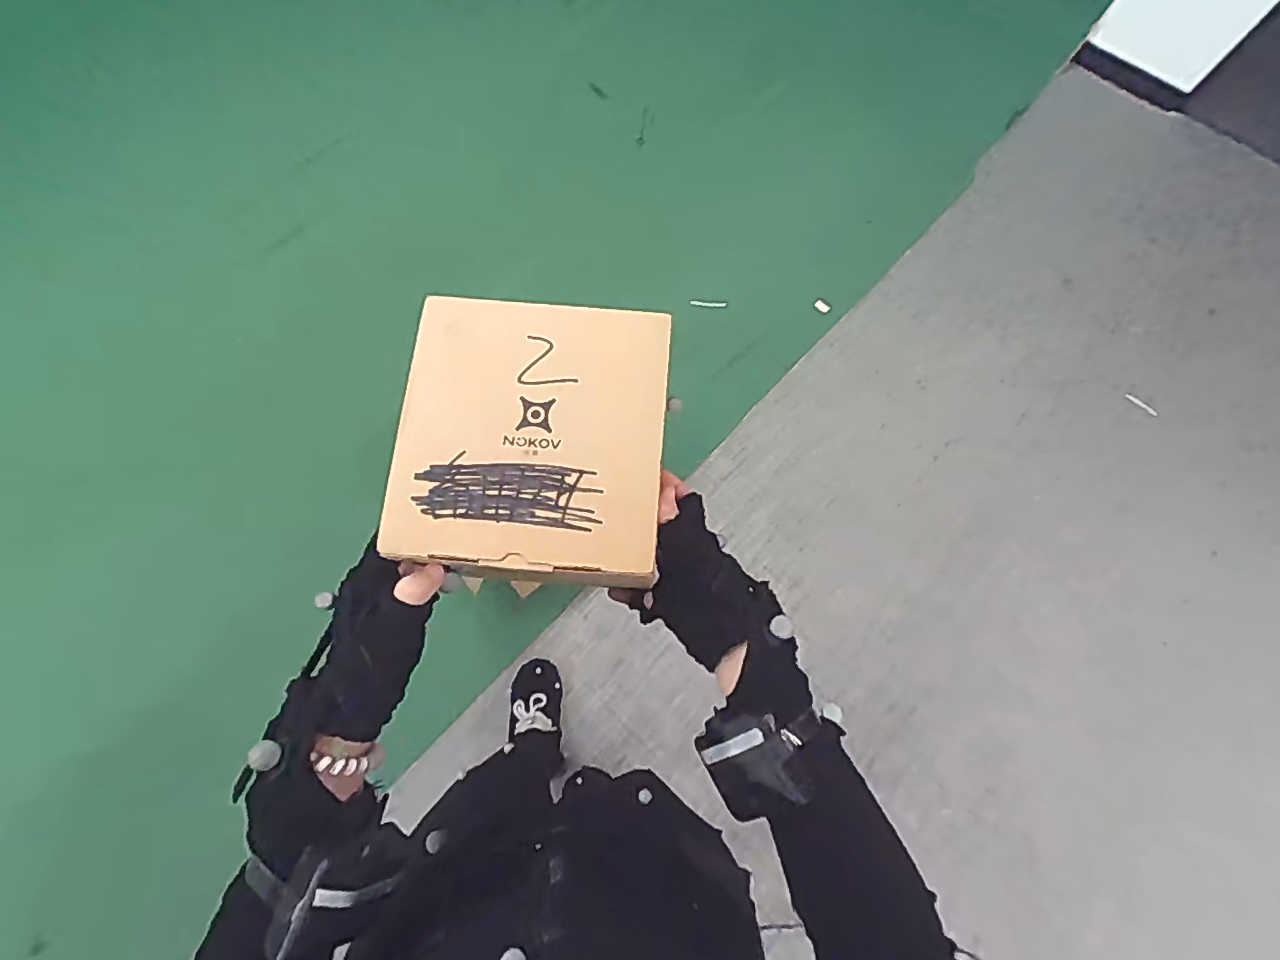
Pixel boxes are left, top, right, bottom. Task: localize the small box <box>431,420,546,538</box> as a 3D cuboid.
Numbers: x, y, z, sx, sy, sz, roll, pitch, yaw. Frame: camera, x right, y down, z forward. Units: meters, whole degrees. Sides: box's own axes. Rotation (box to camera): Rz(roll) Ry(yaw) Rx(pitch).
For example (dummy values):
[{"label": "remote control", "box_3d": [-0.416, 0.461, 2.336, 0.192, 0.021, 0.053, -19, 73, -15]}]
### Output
[{"label": "small box", "box_3d": [-0.329, 0.005, 1.207, 0.168, 0.176, 0.179, -36, 76, -13]}]
